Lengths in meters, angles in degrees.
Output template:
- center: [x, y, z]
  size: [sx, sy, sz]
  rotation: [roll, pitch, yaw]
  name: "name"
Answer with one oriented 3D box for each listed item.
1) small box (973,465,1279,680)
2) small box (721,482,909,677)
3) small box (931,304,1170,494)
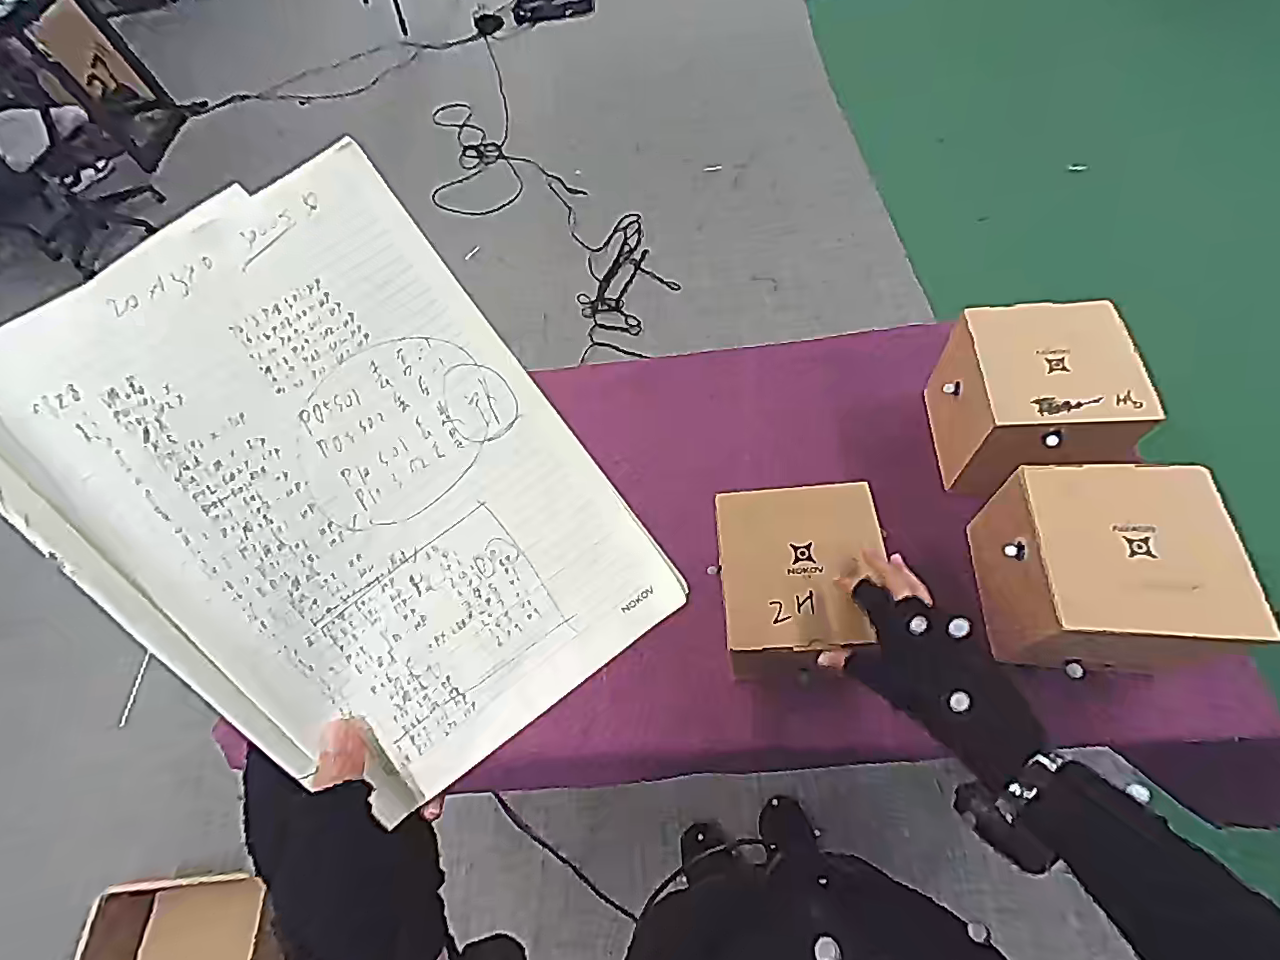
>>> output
- center: [0.482, 0.102, 0.577]
  size: [0.168, 0.176, 0.179]
  rotation: [2, 62, 12]
  name: "small box"
- center: [0.180, 0.120, 0.617]
  size: [0.168, 0.176, 0.179]
  rotation: [-4, 62, 8]
  name: "small box"
- center: [0.489, -0.096, 0.682]
  size: [0.168, 0.176, 0.179]
  rotation: [0, 61, 10]
  name: "small box"
